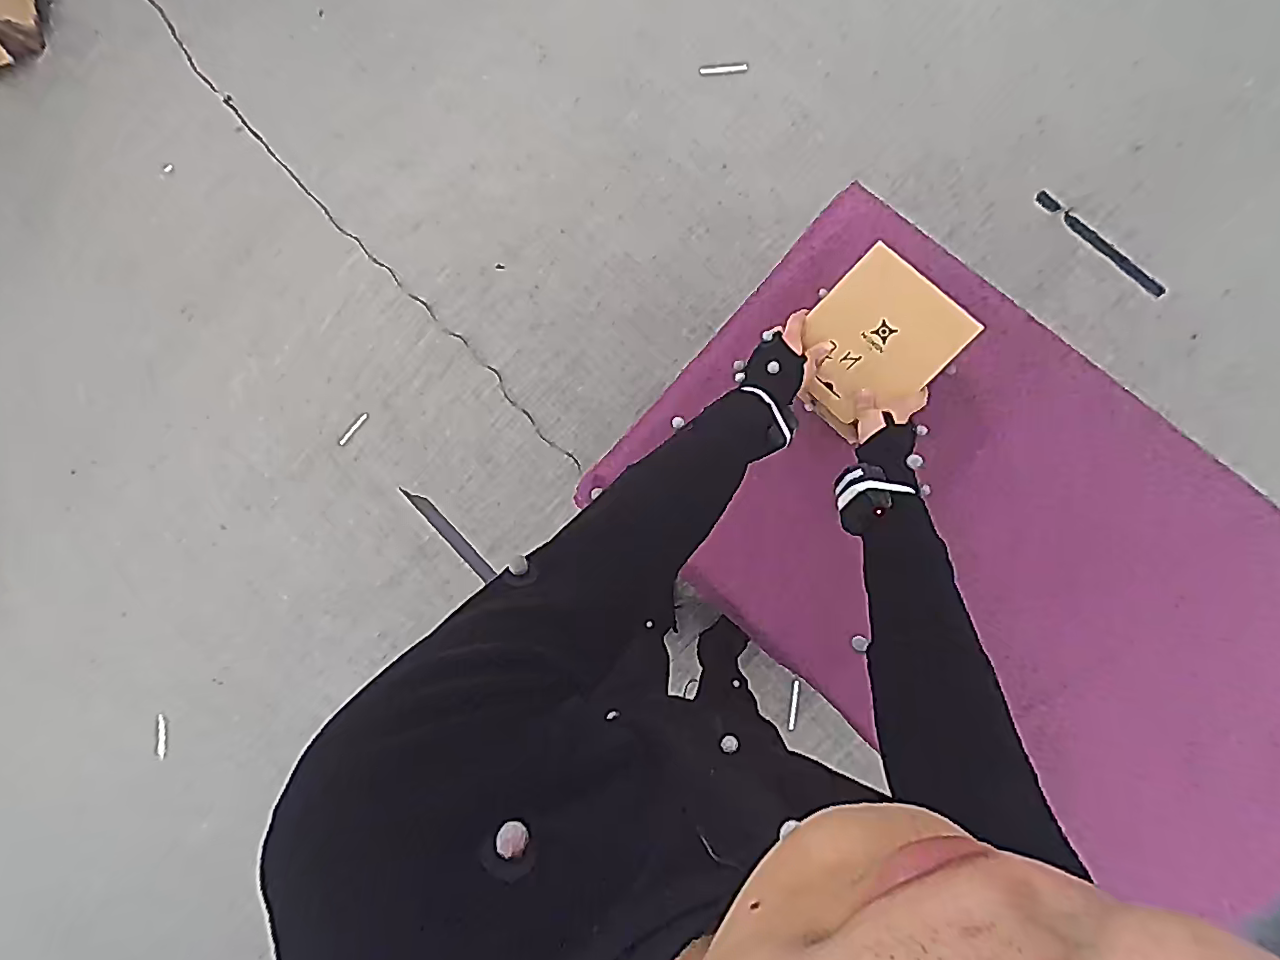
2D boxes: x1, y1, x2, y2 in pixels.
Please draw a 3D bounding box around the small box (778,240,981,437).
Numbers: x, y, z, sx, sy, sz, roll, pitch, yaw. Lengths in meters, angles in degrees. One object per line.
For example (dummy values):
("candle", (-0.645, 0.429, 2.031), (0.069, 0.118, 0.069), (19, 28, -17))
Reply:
("small box", (0.307, -0.179, 0.742), (0.168, 0.176, 0.179), (45, 97, 8))
